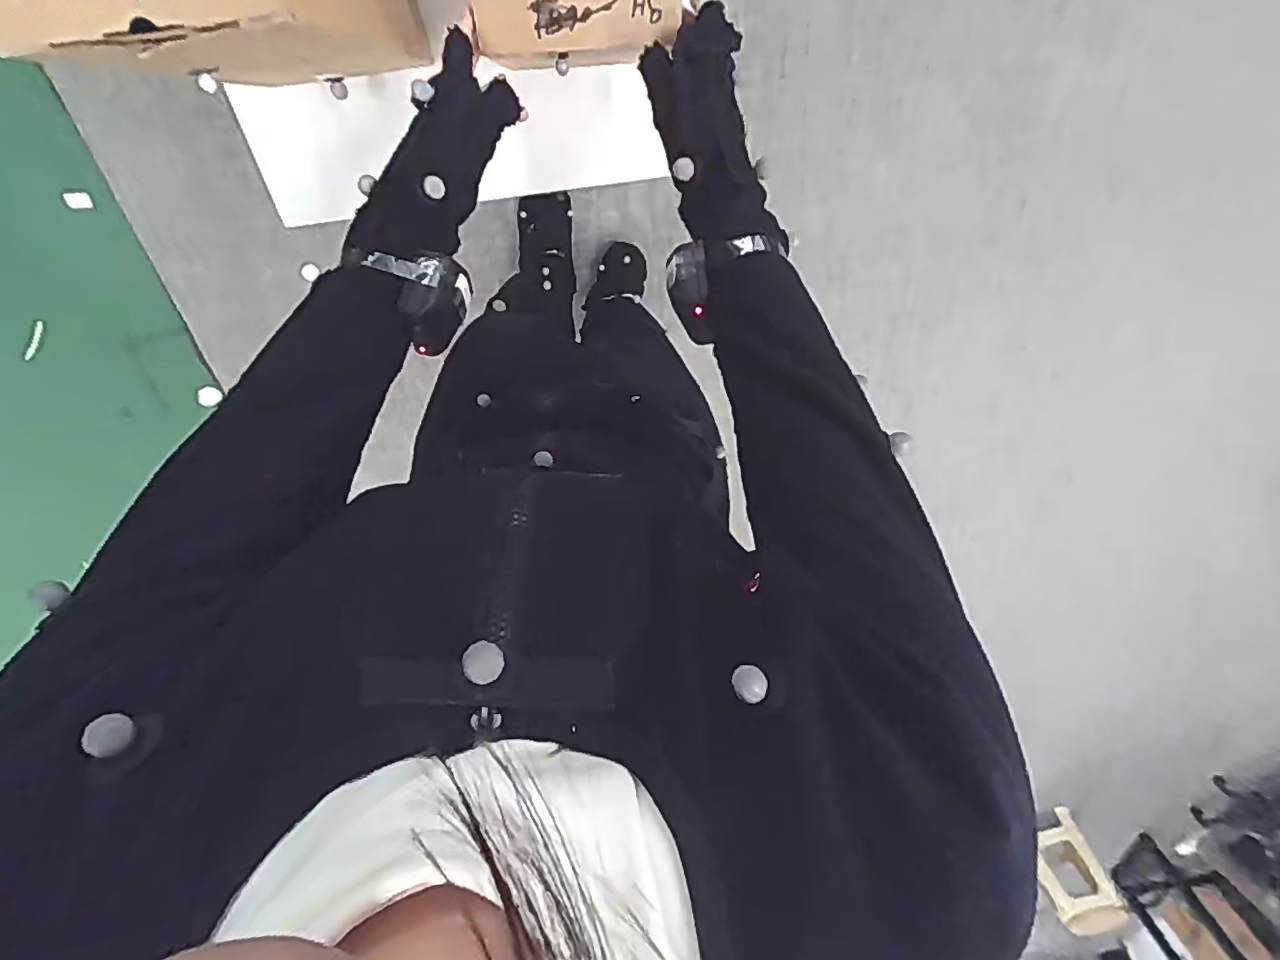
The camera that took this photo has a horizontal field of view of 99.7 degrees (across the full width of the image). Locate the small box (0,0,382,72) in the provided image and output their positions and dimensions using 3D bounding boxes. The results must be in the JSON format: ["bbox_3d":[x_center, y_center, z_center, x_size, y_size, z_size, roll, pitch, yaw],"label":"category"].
[{"bbox_3d":[-0.282,-0.359,0.320,0.168,0.176,0.179,-7,123,0],"label":"small box"}]

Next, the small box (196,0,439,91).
[{"bbox_3d":[-0.293,-0.449,0.457,0.168,0.176,0.179,-9,125,2],"label":"small box"}]
